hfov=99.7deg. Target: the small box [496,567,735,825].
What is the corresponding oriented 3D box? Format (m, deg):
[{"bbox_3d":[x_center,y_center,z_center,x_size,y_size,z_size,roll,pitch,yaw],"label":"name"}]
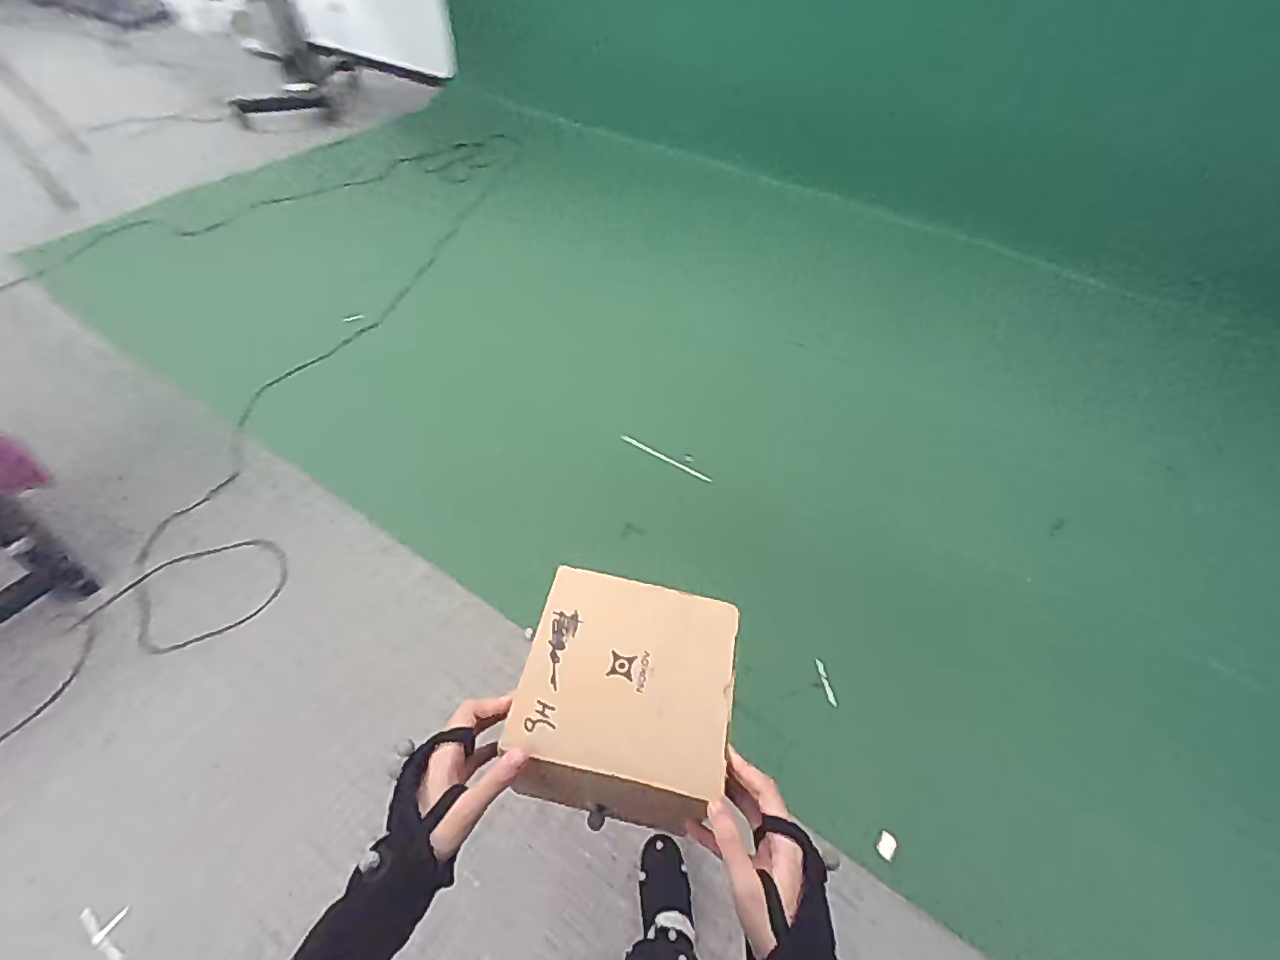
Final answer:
[{"bbox_3d":[-0.020,0.211,0.517,0.179,0.176,0.168,13,49,2],"label":"small box"}]
